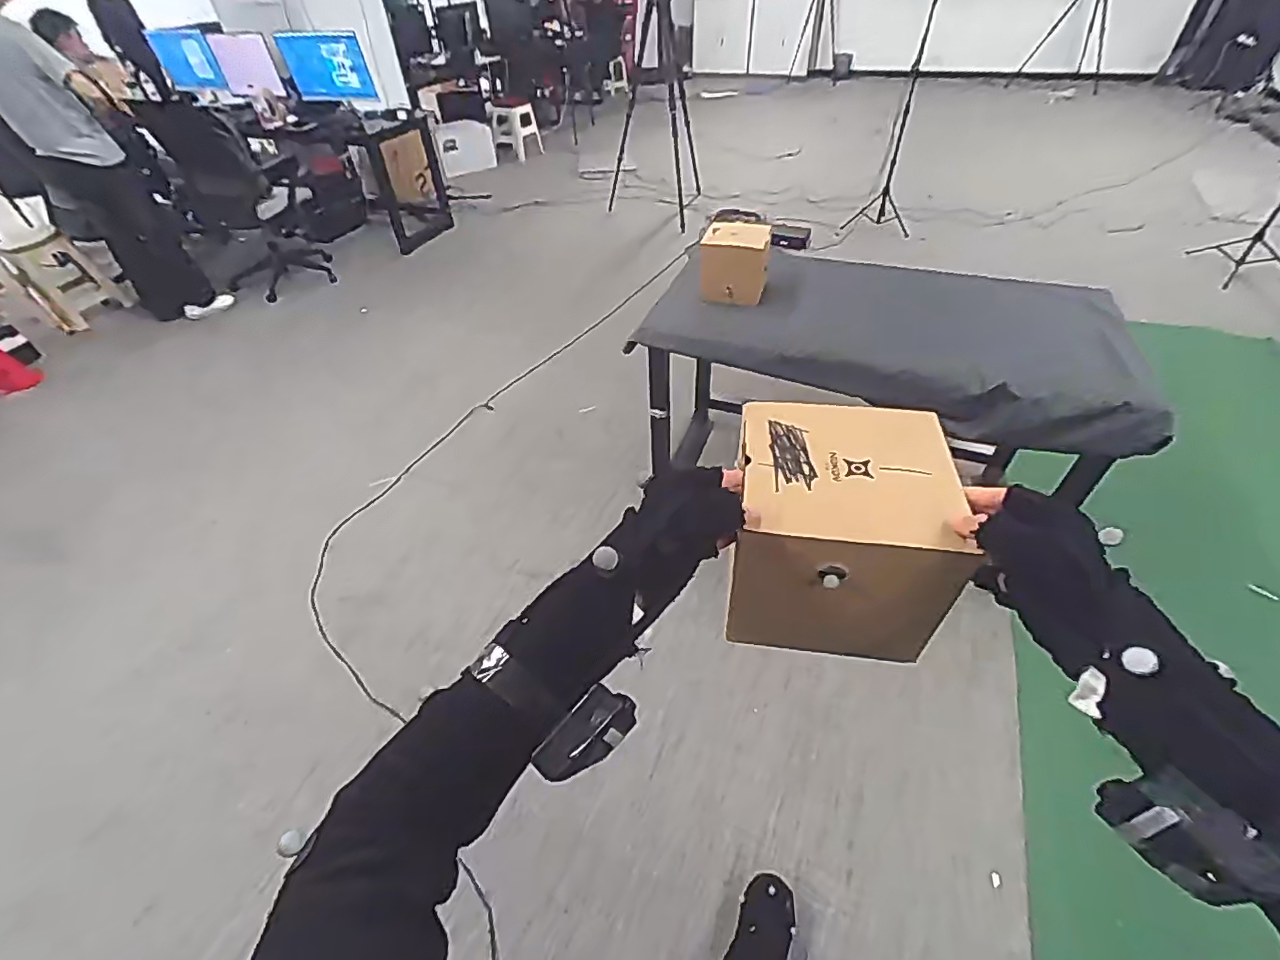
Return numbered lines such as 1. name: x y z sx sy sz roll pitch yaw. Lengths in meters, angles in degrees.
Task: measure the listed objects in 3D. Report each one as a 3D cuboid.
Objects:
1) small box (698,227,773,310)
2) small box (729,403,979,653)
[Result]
1. small box: 0.276 -0.613 1.571 0.179 0.176 0.168 12 46 14
2. small box: 0.179 0.046 0.516 0.179 0.176 0.168 5 45 8
